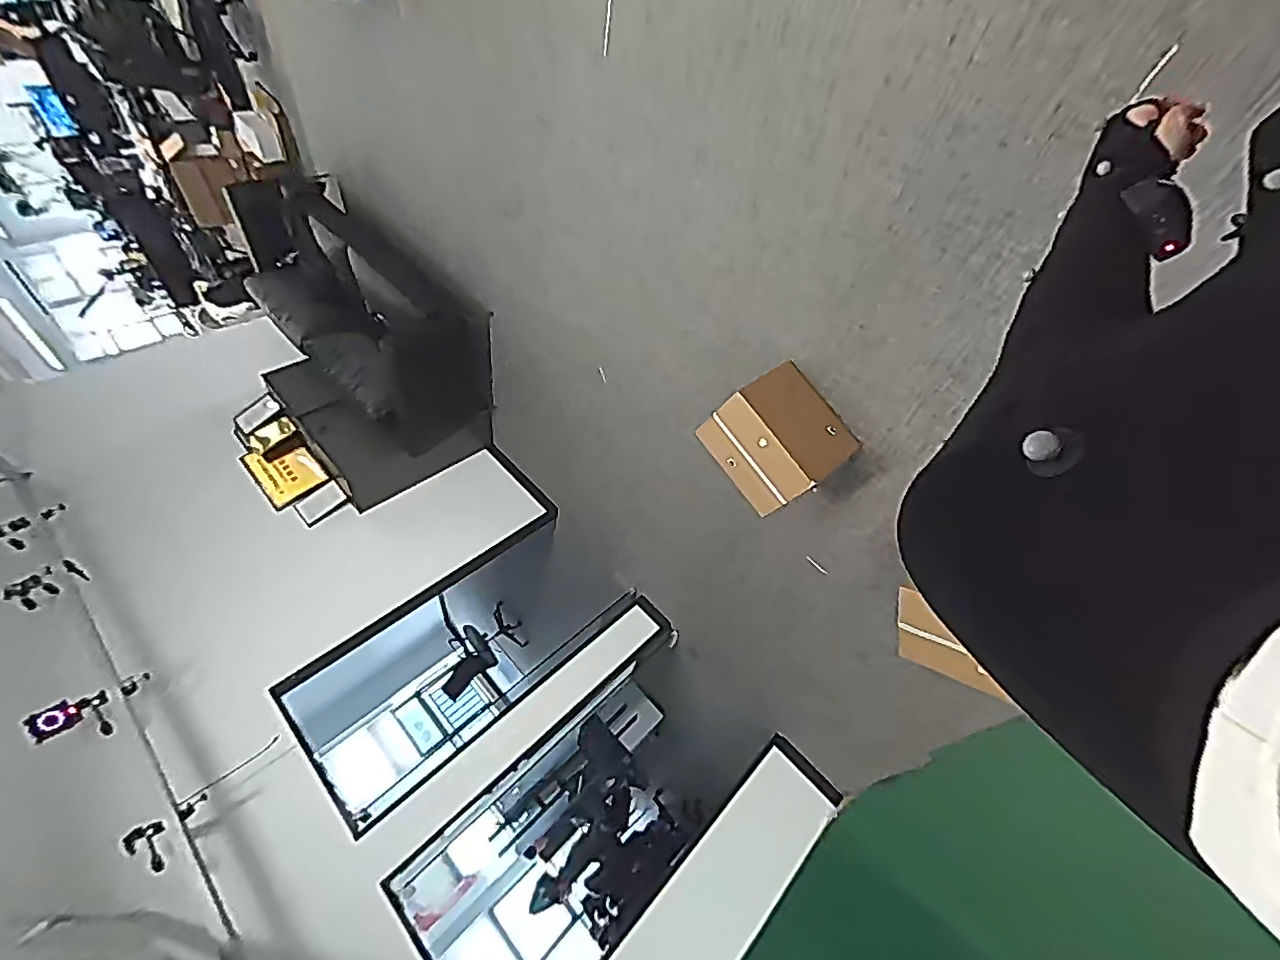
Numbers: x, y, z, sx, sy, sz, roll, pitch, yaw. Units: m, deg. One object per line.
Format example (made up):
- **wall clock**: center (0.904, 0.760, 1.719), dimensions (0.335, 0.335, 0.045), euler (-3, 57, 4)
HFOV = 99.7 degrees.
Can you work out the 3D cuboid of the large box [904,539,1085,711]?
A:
- **large box**: center (1.099, 0.431, 1.707), dimensions (0.408, 0.320, 0.320), euler (16, 131, 44)
